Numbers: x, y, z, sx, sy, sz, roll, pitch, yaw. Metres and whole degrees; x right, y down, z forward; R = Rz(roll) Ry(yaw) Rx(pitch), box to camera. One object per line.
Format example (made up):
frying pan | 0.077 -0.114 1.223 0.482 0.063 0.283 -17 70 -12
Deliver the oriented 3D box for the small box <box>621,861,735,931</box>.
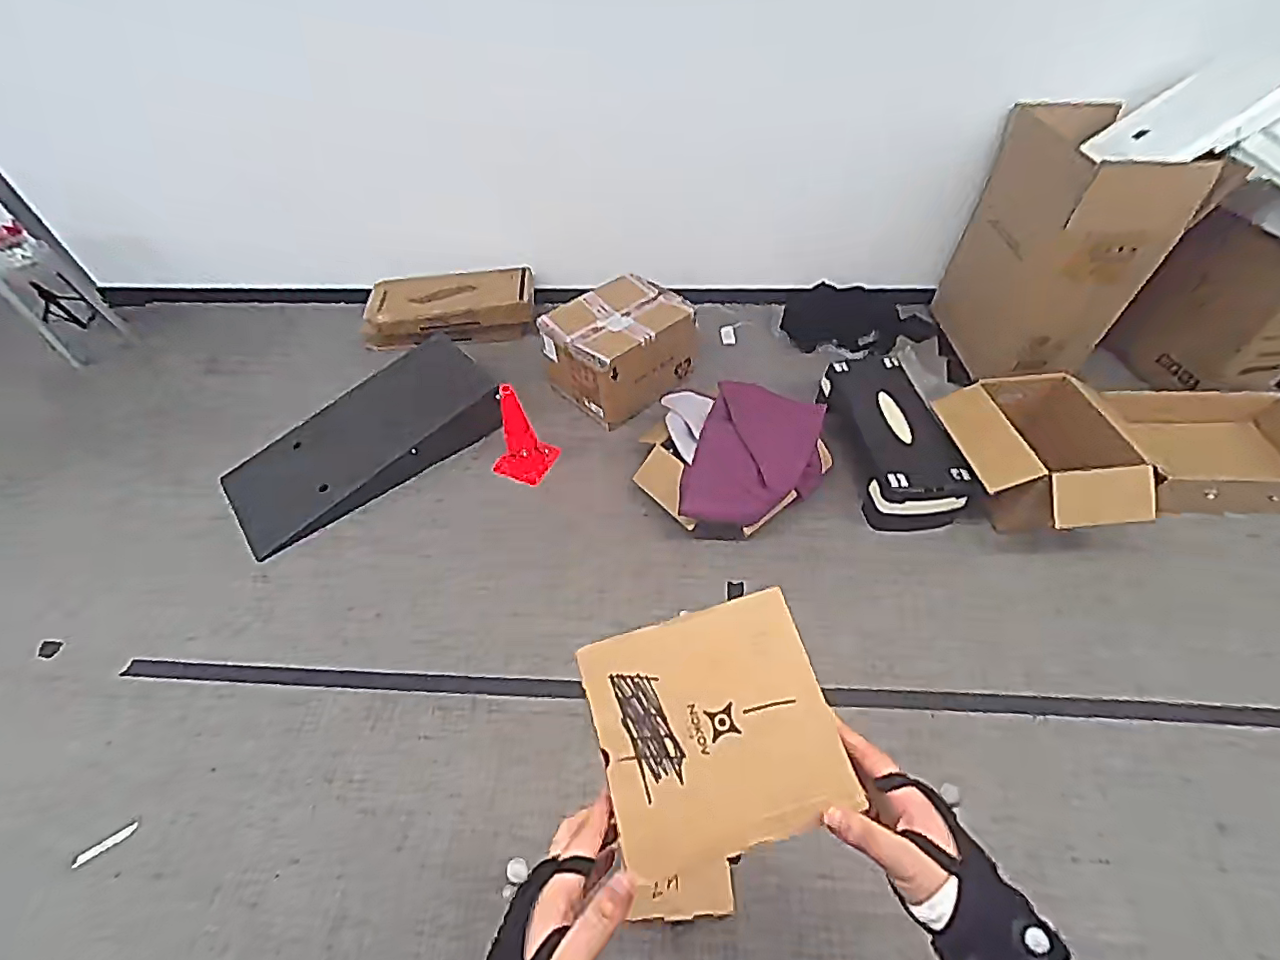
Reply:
small box | 0.056 0.621 0.888 0.168 0.176 0.179 -4 49 1

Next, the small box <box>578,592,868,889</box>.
small box | 0.062 0.217 0.473 0.179 0.176 0.168 -17 66 -2
